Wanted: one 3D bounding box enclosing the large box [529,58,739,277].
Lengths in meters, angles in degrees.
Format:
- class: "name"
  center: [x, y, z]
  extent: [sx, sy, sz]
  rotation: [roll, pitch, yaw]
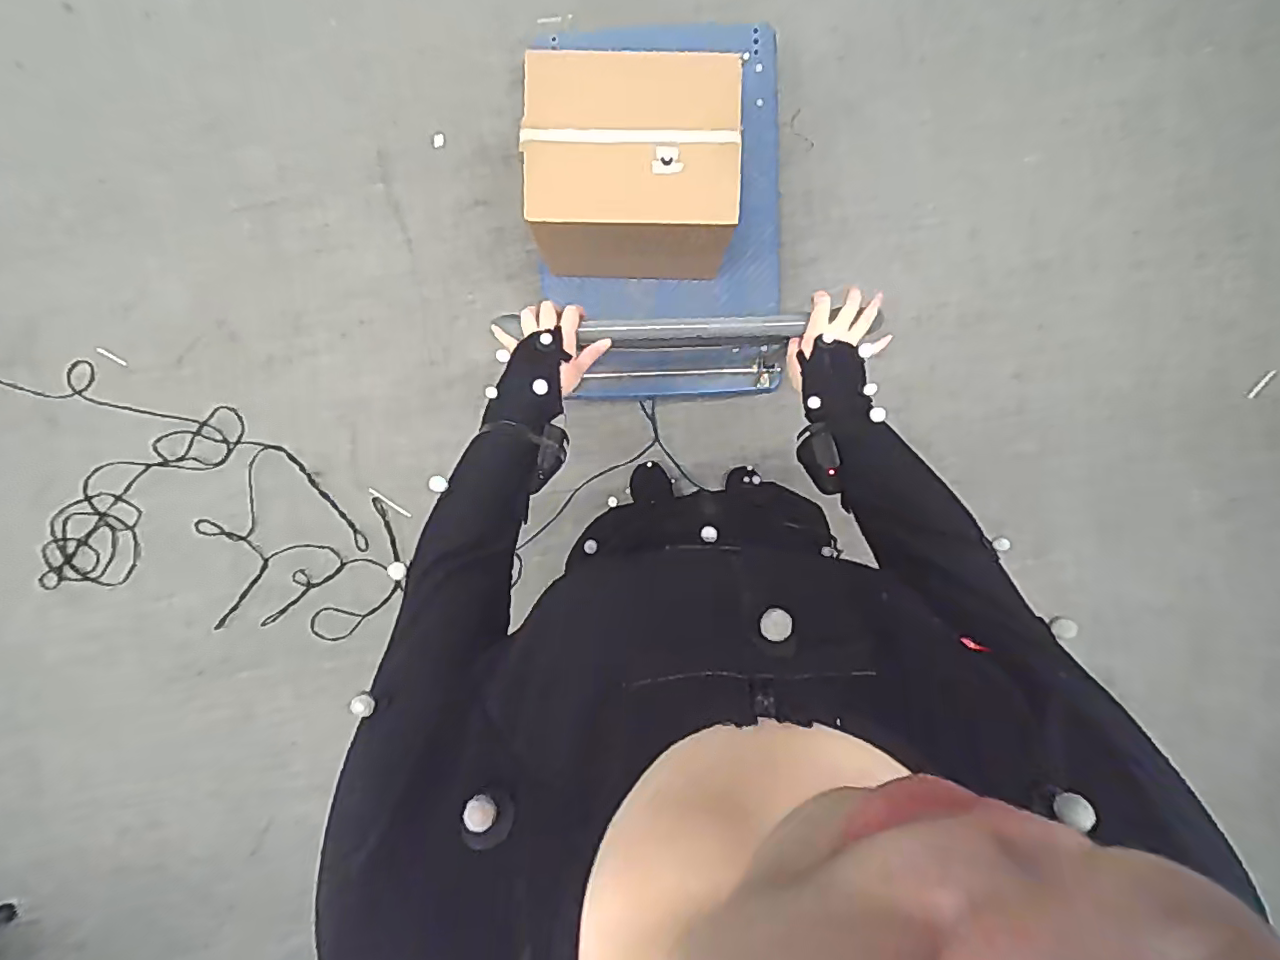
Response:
- class: "large box"
  center: [-0.014, -0.646, 1.172]
  extent: [0.408, 0.320, 0.320]
  rotation: [1, 92, -1]
